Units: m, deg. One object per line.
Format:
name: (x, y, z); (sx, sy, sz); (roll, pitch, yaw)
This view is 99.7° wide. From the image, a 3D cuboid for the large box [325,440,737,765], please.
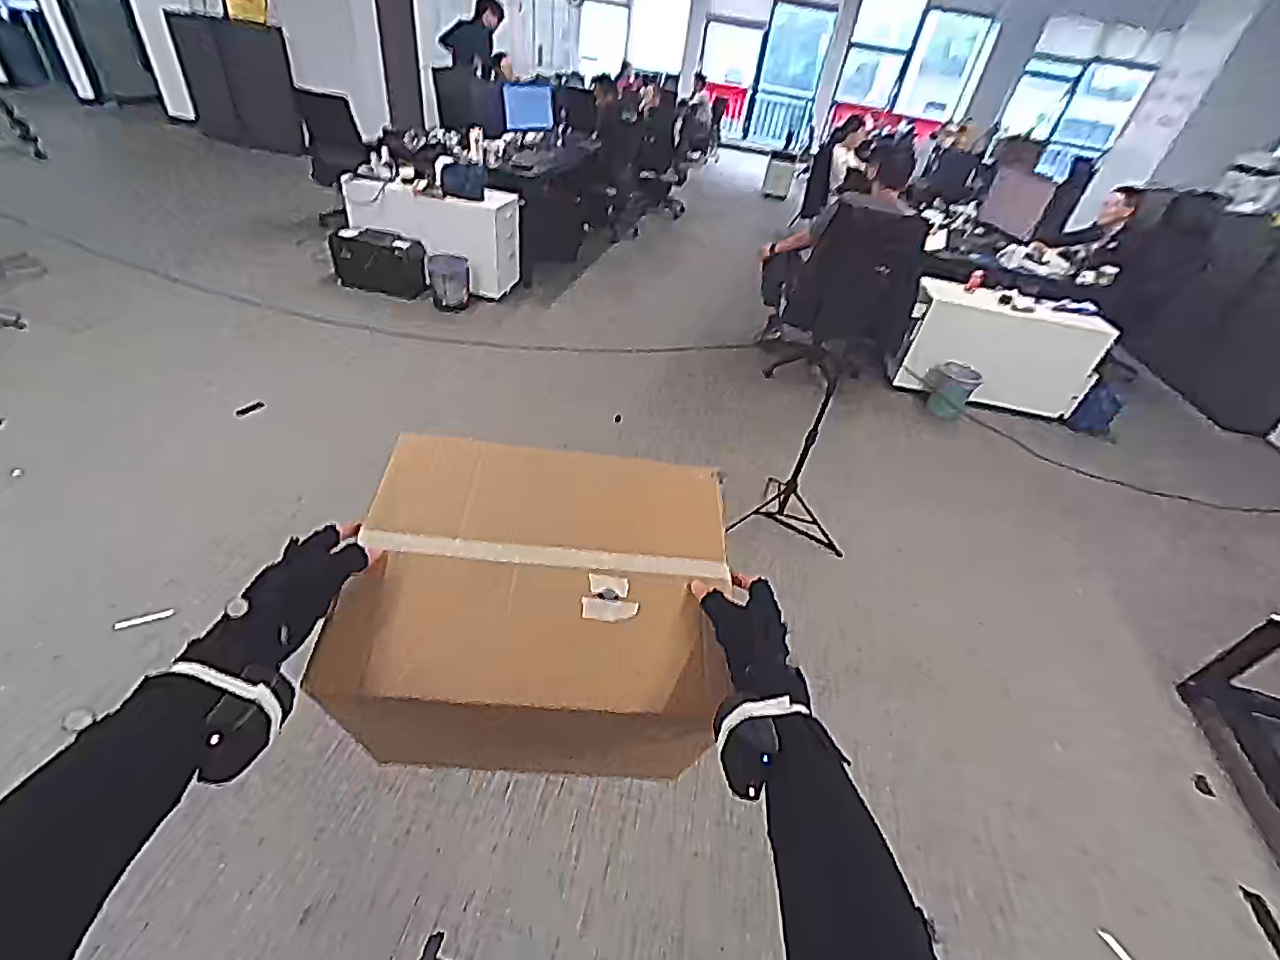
large box: (-0.122, 0.178, 0.725); (0.408, 0.320, 0.320); (7, 52, -7)
